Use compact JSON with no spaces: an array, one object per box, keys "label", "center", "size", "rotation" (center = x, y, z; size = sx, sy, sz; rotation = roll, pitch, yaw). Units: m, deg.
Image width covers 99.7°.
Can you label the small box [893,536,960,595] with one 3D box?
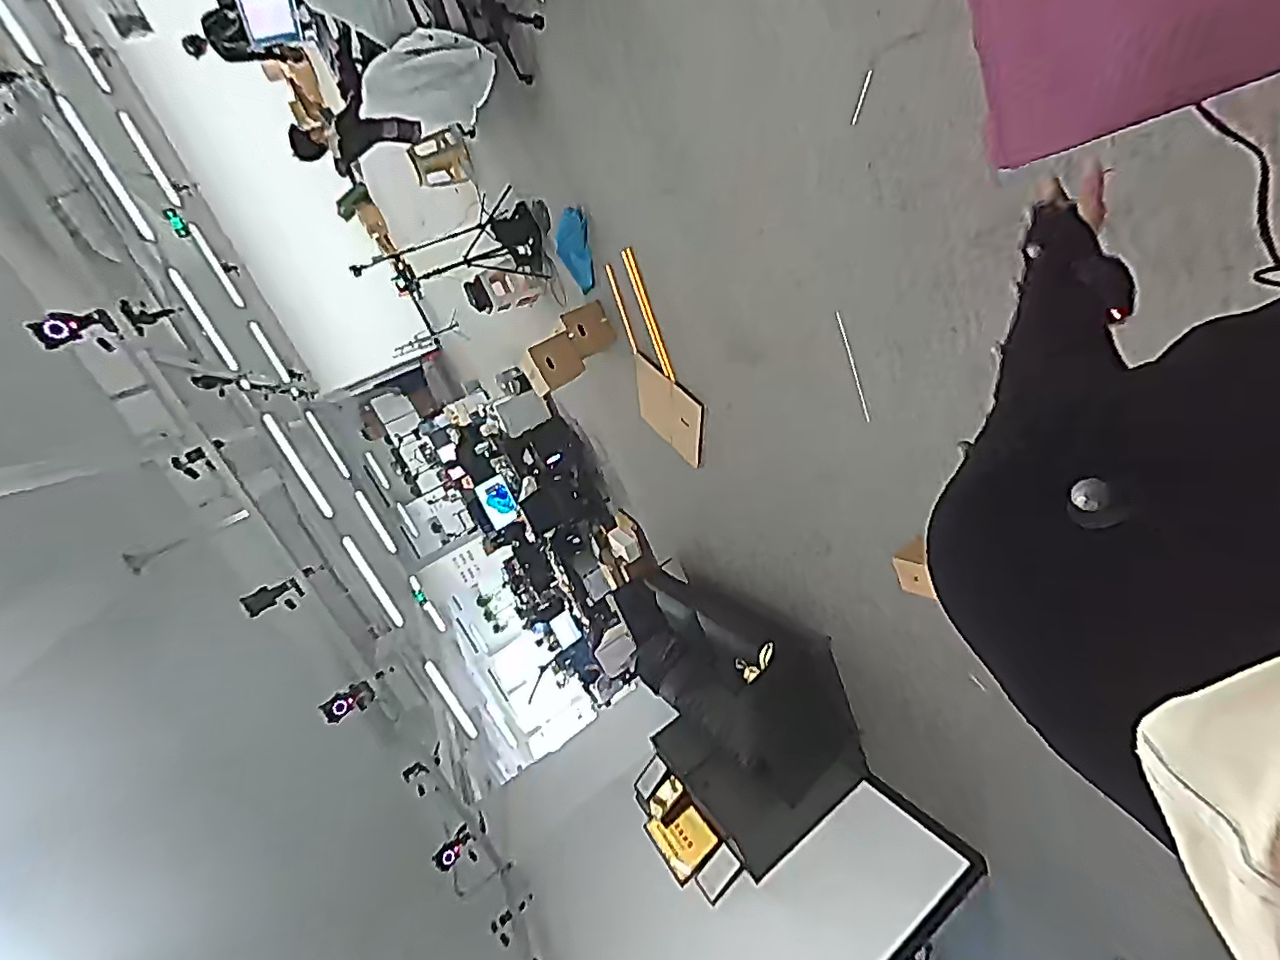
[{"label":"small box","center":[1.202,0.349,2.254],"size":[0.179,0.176,0.168],"rotation":[11,127,65]}]
